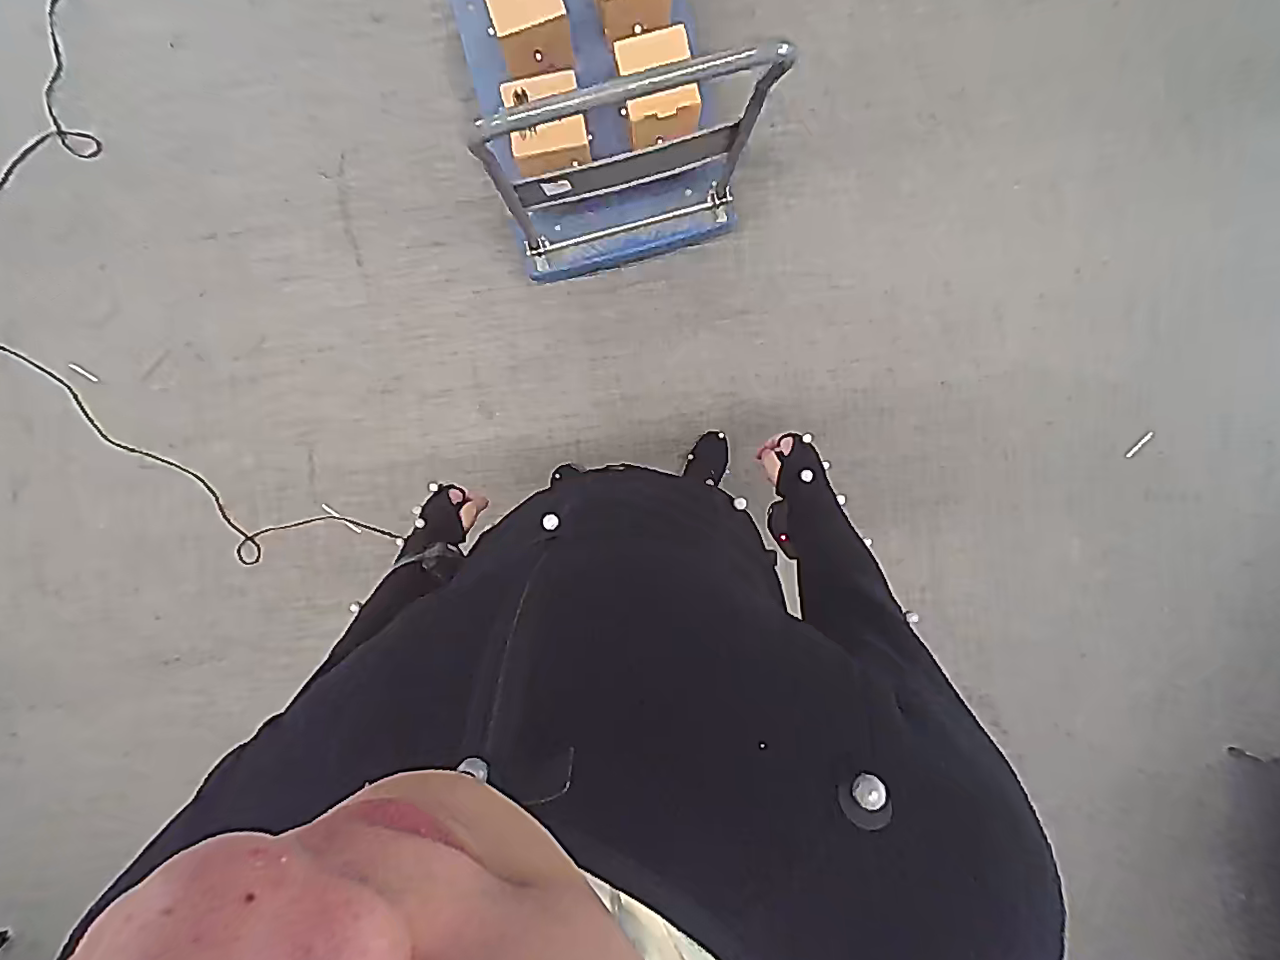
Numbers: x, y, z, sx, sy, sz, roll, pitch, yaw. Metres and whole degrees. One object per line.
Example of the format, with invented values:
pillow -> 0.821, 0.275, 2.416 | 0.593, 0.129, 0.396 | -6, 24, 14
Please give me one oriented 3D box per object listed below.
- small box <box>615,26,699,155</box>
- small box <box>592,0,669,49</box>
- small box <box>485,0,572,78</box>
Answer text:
small box -> 0.038, -0.933, 1.311 | 0.168, 0.176, 0.179 | -14, 95, 2
small box -> -0.032, -1.194, 1.288 | 0.168, 0.176, 0.179 | -18, 95, 3
small box -> -0.271, -1.112, 1.298 | 0.168, 0.176, 0.179 | -18, 94, 1
